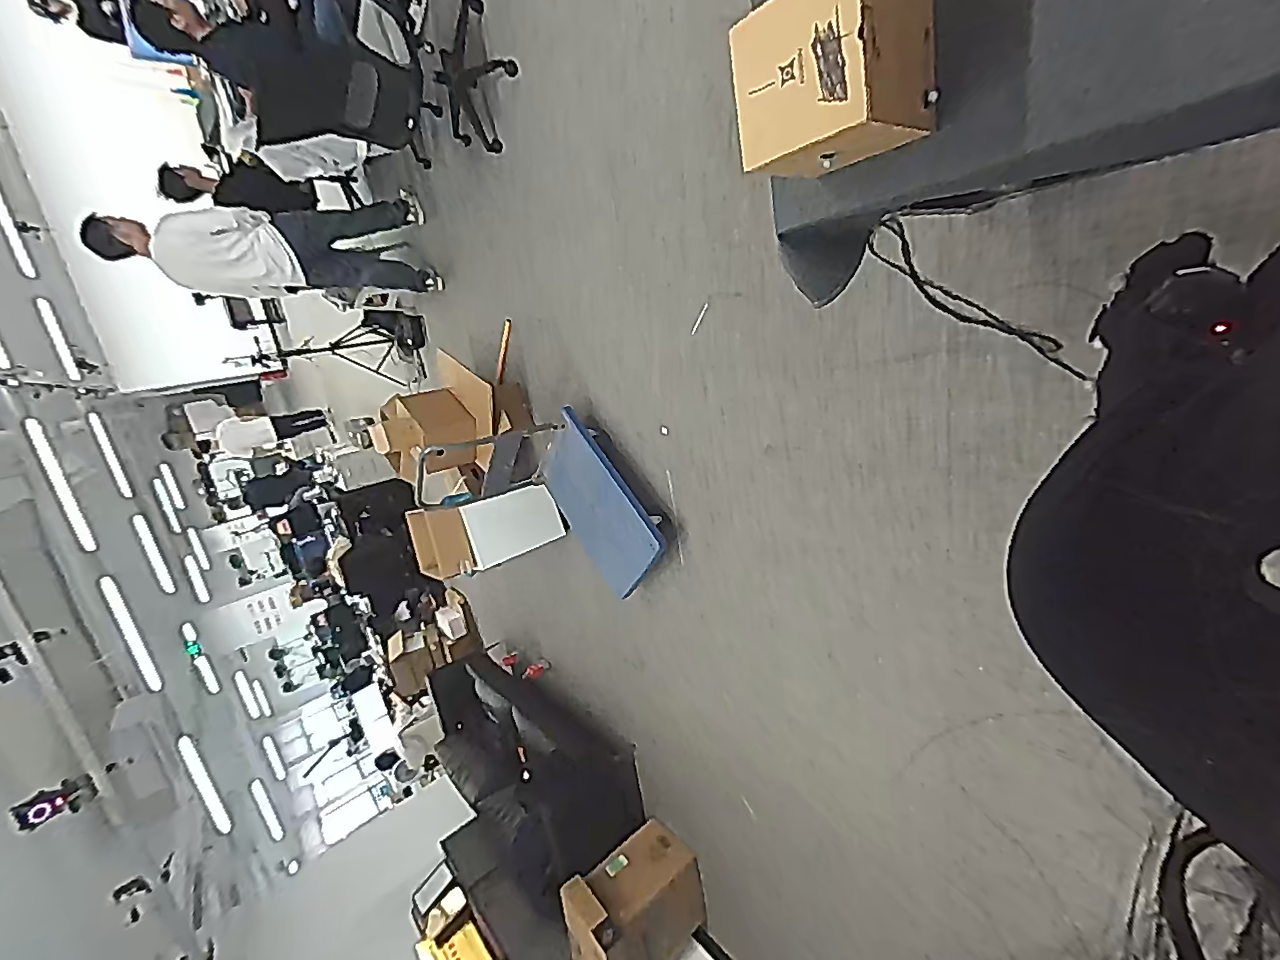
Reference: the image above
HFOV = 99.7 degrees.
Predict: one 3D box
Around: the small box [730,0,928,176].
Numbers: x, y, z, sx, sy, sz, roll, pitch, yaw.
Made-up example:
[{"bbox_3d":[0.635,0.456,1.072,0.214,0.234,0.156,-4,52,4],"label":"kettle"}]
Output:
[{"bbox_3d":[0.240,-0.496,0.675,0.179,0.176,0.168,9,114,50],"label":"small box"}]
